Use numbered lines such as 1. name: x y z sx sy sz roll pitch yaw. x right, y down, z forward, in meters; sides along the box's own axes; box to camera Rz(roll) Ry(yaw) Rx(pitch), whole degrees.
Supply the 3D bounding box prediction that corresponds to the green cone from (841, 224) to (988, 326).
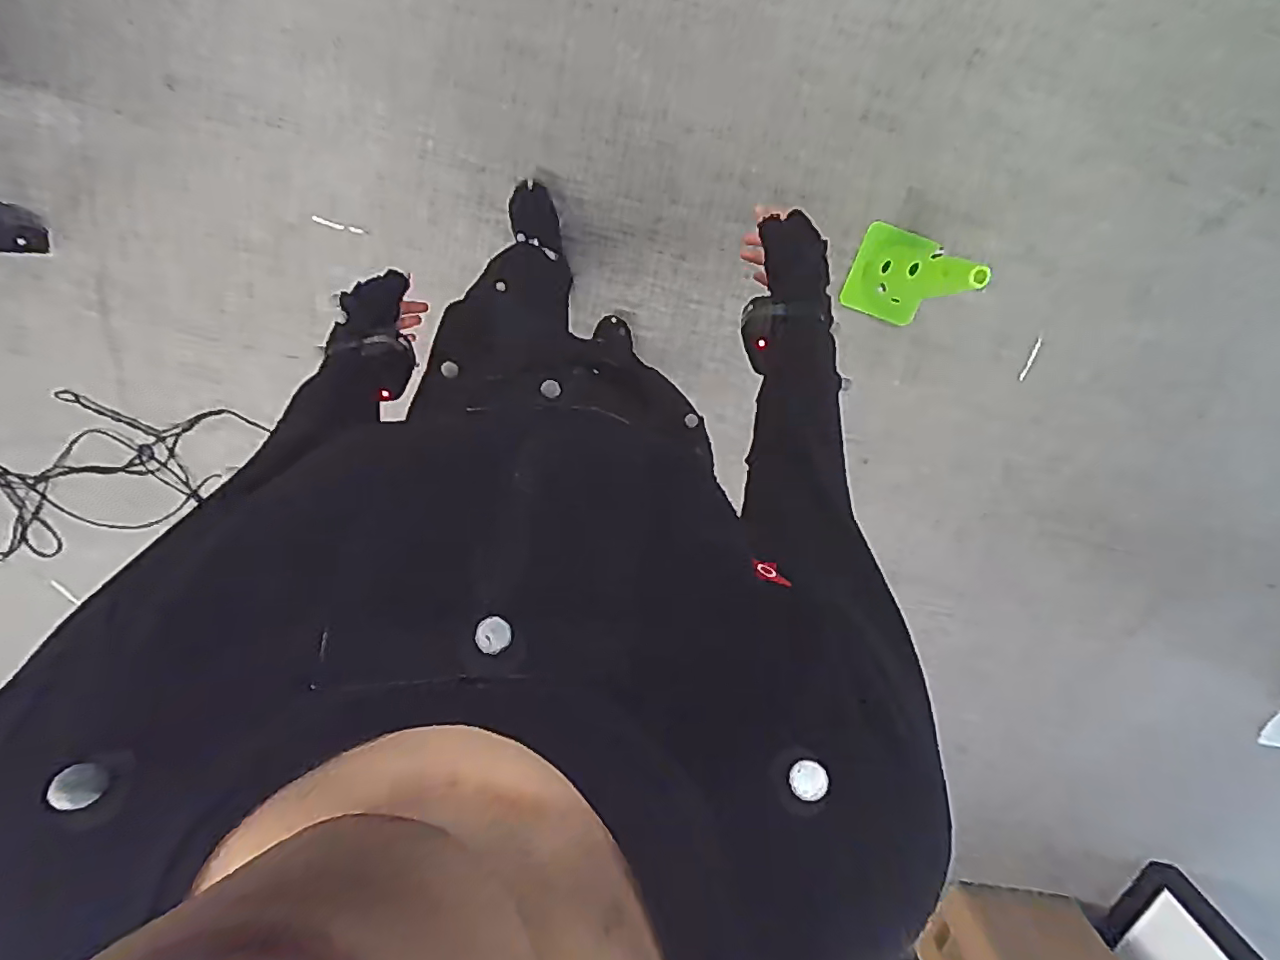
1. green cone: 0.617 -0.437 1.162 0.200 0.368 0.202 16 110 -7
